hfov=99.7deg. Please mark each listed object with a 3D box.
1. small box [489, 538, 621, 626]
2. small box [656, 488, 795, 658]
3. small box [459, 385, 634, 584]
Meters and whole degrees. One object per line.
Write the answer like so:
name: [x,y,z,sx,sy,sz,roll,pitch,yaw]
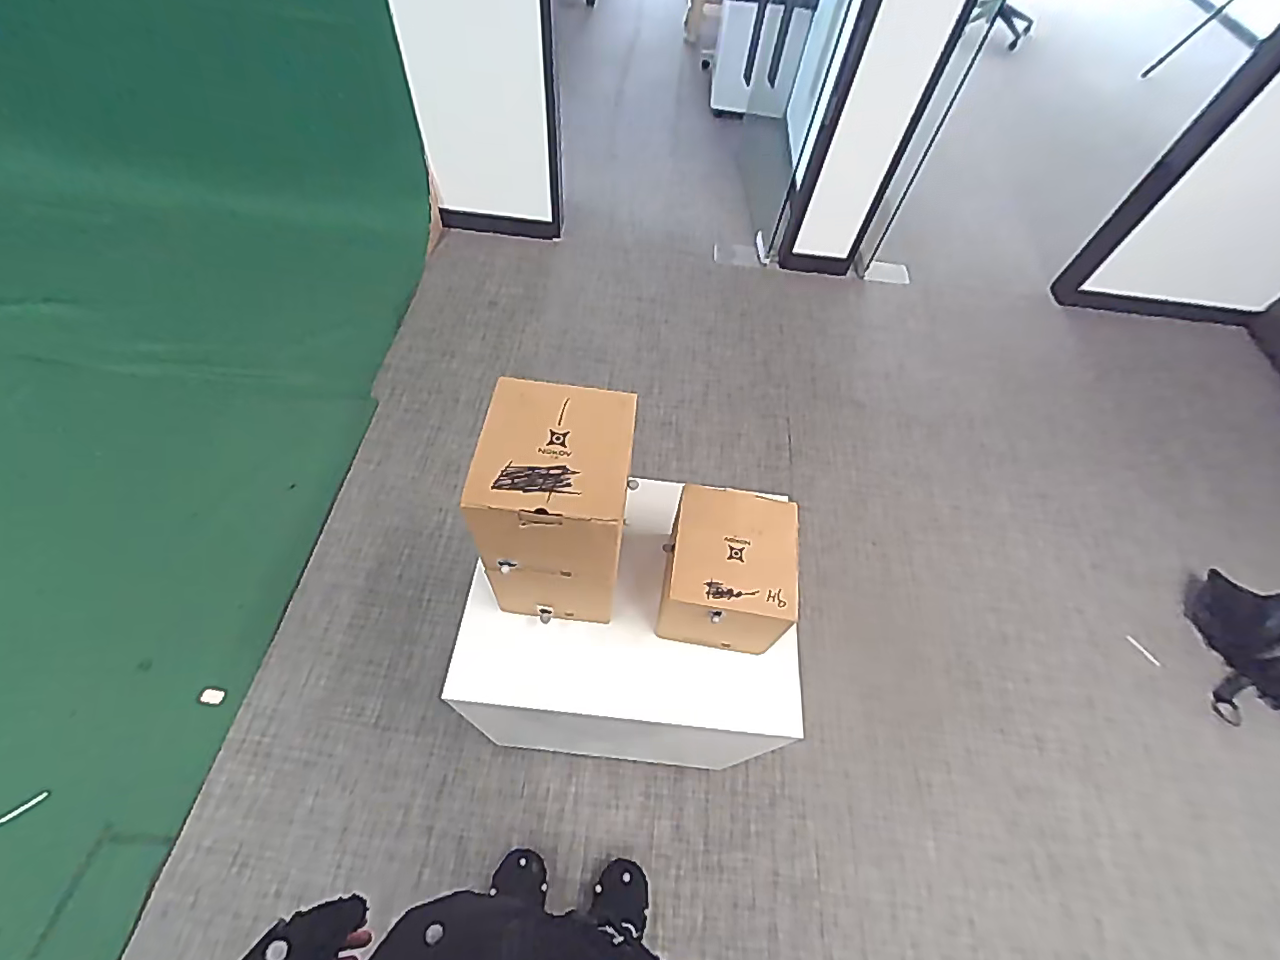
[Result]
small box: [-0.113,0.100,0.799,0.168,0.176,0.179,5,59,-1]
small box: [0.120,0.140,0.793,0.168,0.176,0.179,10,57,1]
small box: [-0.101,0.012,0.661,0.168,0.176,0.179,7,56,-1]
